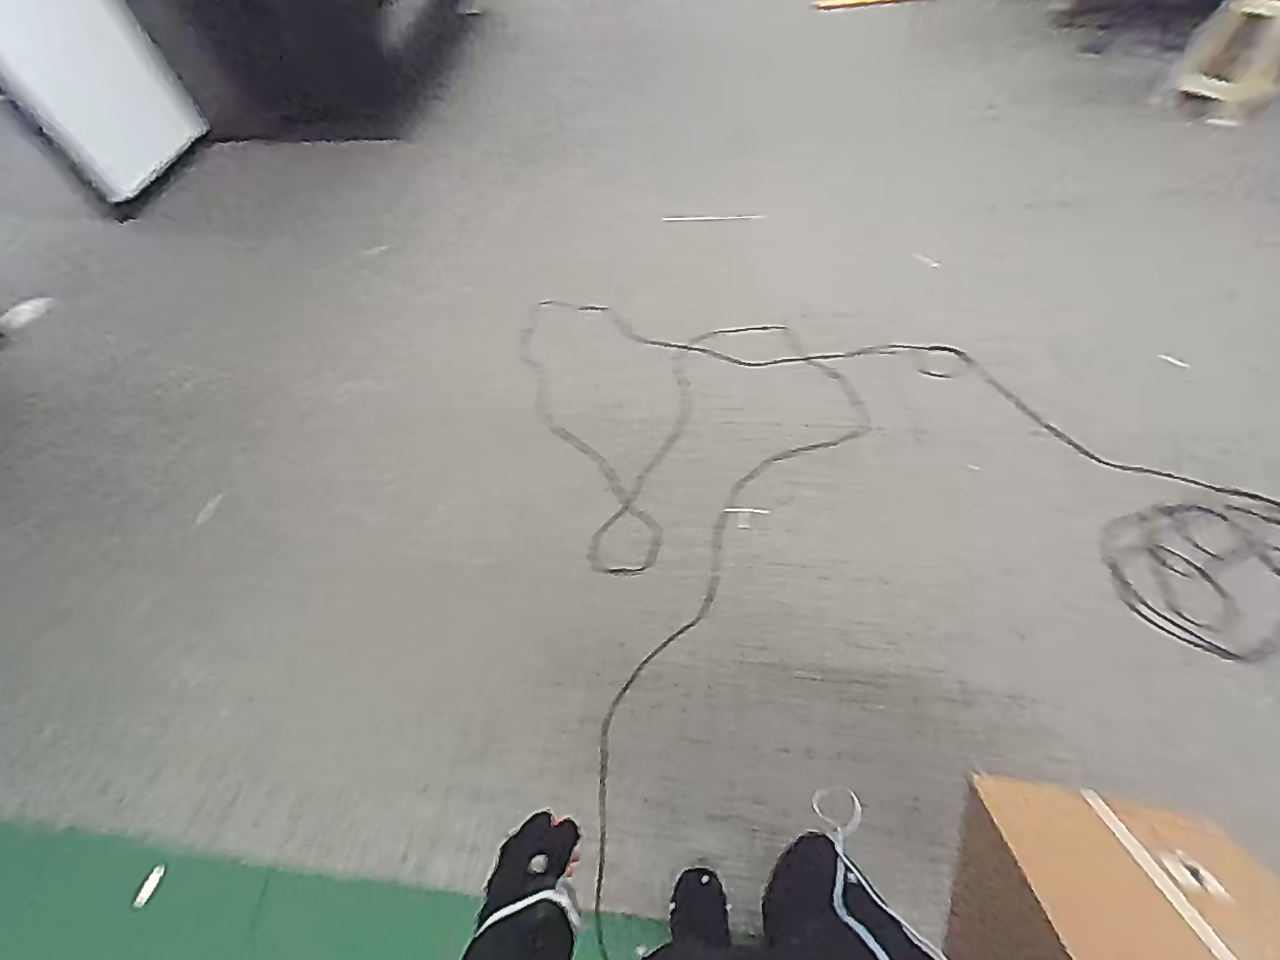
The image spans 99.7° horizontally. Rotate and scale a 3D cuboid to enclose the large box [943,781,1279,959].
[{"bbox_3d":[0.600,0.648,0.636,0.320,0.408,0.320,5,98,12],"label":"large box"}]
